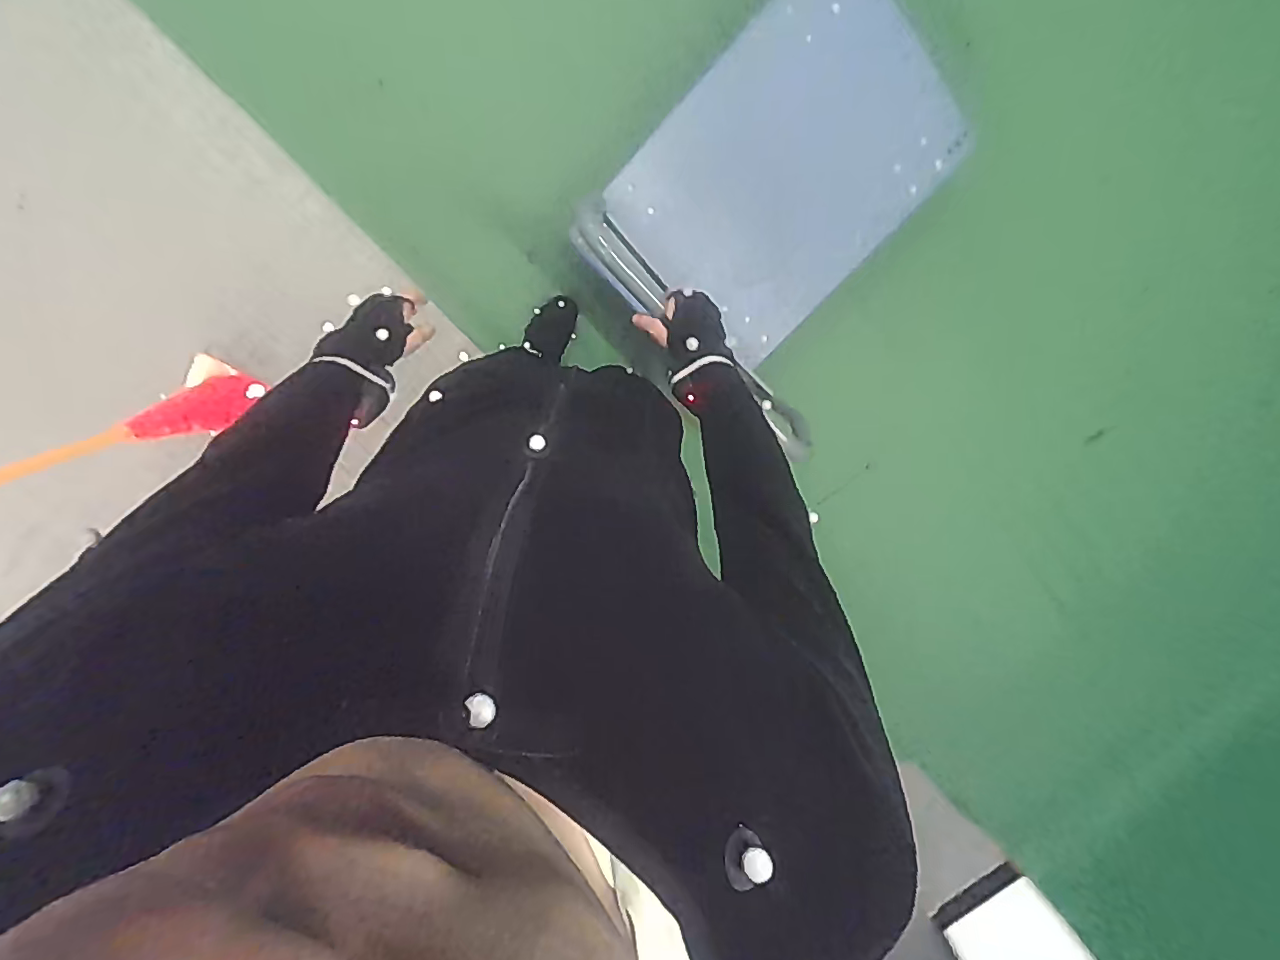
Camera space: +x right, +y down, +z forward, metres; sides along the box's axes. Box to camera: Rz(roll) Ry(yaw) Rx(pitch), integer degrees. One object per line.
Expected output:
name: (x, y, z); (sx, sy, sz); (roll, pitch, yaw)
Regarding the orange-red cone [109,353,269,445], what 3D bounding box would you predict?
orange-red cone: (-1.117, -0.162, 1.302); (0.199, 0.360, 0.198); (31, 102, -15)
